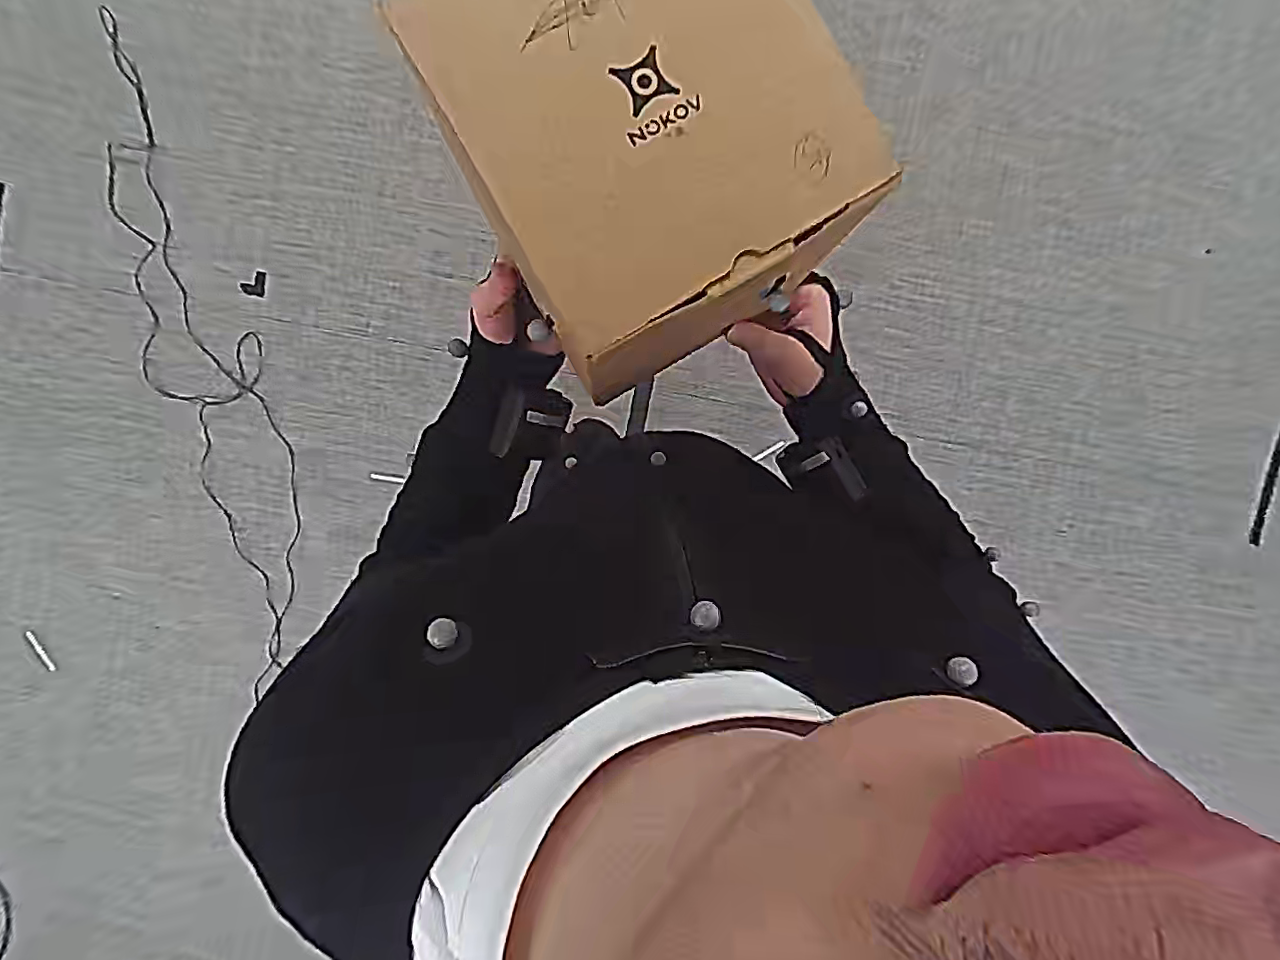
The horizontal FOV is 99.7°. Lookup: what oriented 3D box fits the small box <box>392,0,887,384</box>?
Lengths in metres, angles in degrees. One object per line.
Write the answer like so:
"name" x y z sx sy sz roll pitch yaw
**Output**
"small box" -0.001 -0.172 0.322 0.168 0.176 0.179 -32 92 -3
